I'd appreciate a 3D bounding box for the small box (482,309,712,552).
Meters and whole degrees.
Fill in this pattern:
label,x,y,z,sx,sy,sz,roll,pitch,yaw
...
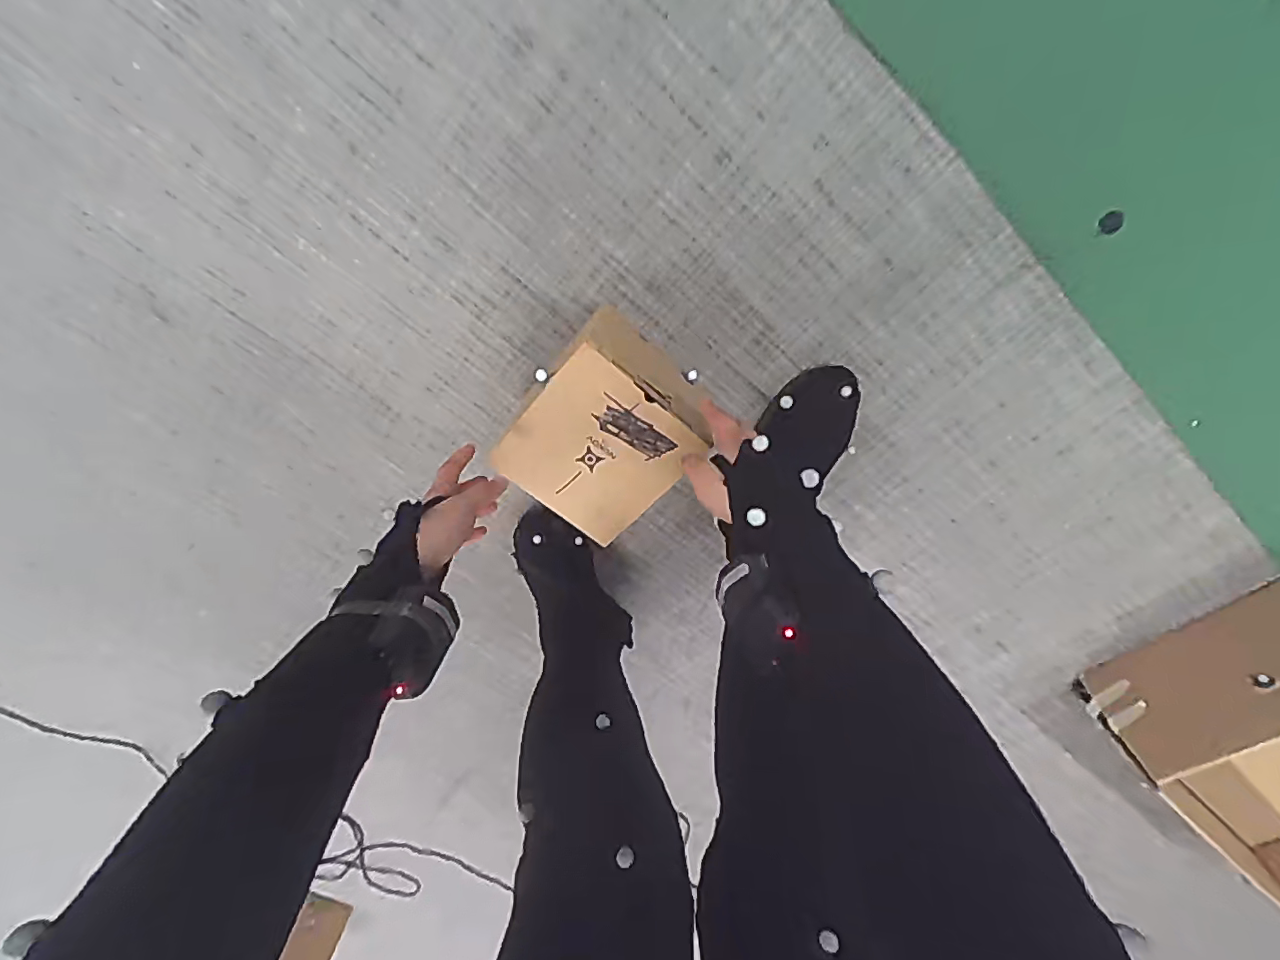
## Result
label,x,y,z,sx,sy,sz,roll,pitch,yaw
small box,-0.043,-0.062,0.605,0.168,0.176,0.179,38,116,-18

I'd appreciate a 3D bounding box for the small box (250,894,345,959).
label,x,y,z,sx,sy,sz,roll,pitch,yaw
small box,-0.903,1.223,1.403,0.168,0.176,0.179,29,117,-13
